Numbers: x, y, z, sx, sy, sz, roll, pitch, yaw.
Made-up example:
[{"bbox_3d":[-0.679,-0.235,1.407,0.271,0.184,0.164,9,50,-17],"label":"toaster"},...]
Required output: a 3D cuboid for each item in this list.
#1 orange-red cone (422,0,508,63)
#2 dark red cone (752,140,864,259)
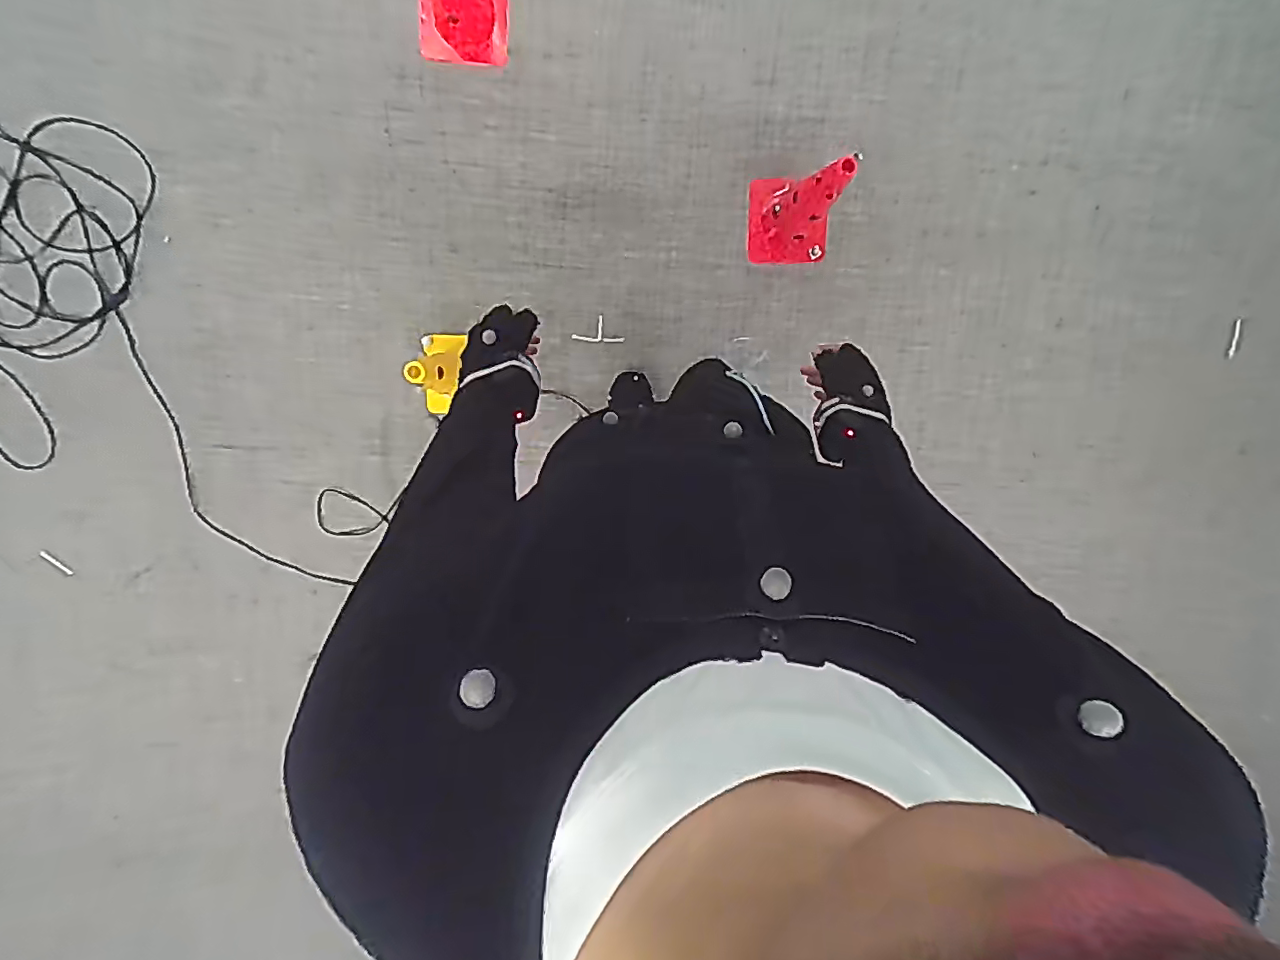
[{"bbox_3d":[-0.399,-1.048,1.080,0.198,0.360,0.199,4,101,-2],"label":"orange-red cone"},{"bbox_3d":[0.383,-0.625,1.170,0.202,0.394,0.201,-3,99,-2],"label":"dark red cone"}]
